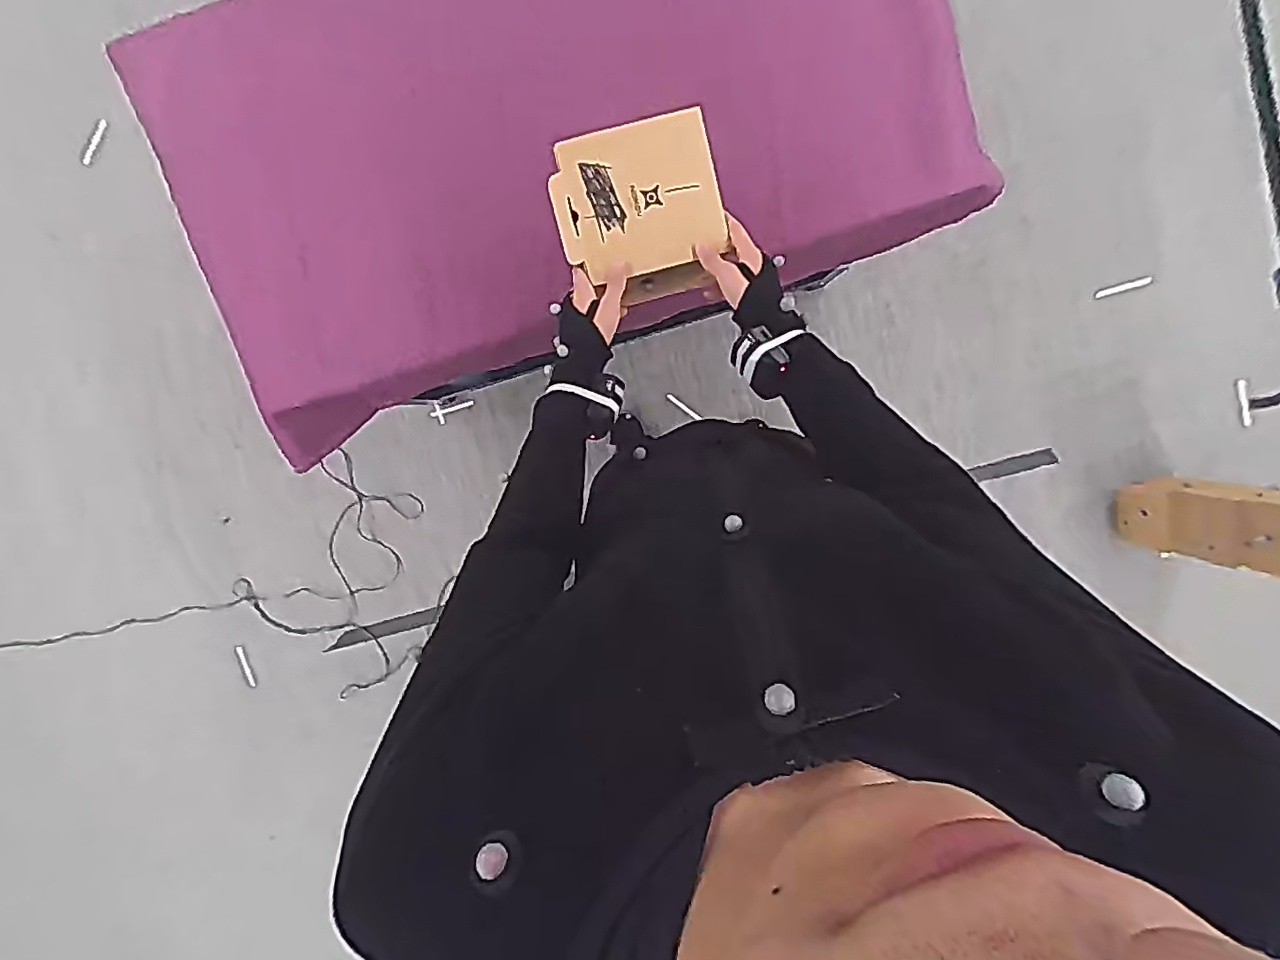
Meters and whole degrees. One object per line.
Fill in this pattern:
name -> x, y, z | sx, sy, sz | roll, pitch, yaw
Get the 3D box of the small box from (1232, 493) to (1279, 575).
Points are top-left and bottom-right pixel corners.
small box -> 1.489, 0.119, 1.194 | 0.179, 0.176, 0.168 | -7, 98, 2

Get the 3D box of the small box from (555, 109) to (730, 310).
small box -> 0.002, -0.334, 0.705 | 0.179, 0.176, 0.168 | -15, 97, -1

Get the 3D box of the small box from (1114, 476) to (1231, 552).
small box -> 1.486, 0.090, 1.524 | 0.179, 0.176, 0.168 | -12, 97, 3
